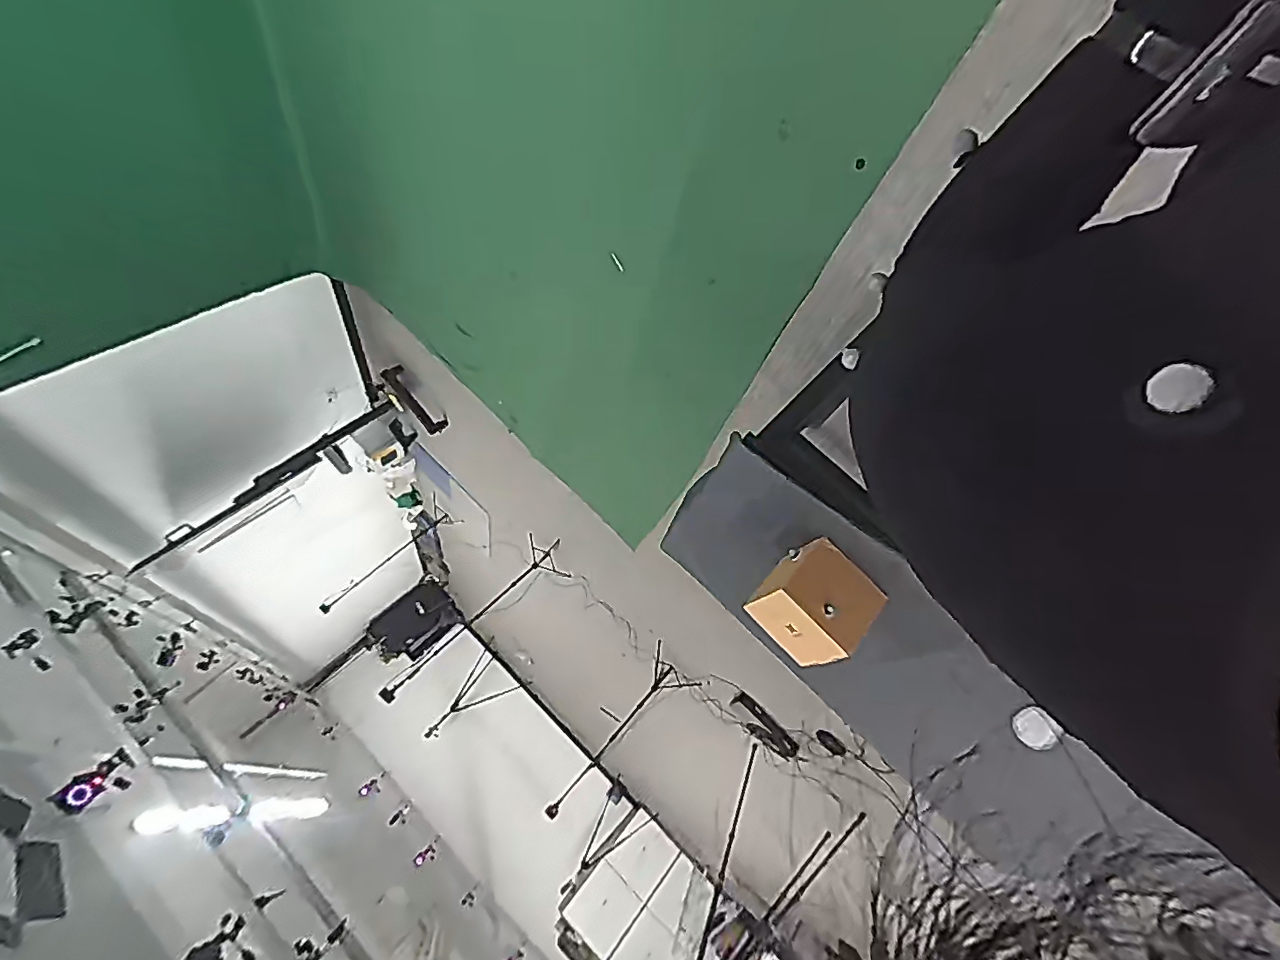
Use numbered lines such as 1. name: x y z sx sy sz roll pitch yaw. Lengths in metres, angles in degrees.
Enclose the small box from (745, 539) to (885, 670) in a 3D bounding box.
1. small box: 0.356 0.252 1.096 0.179 0.176 0.168 45 150 7
